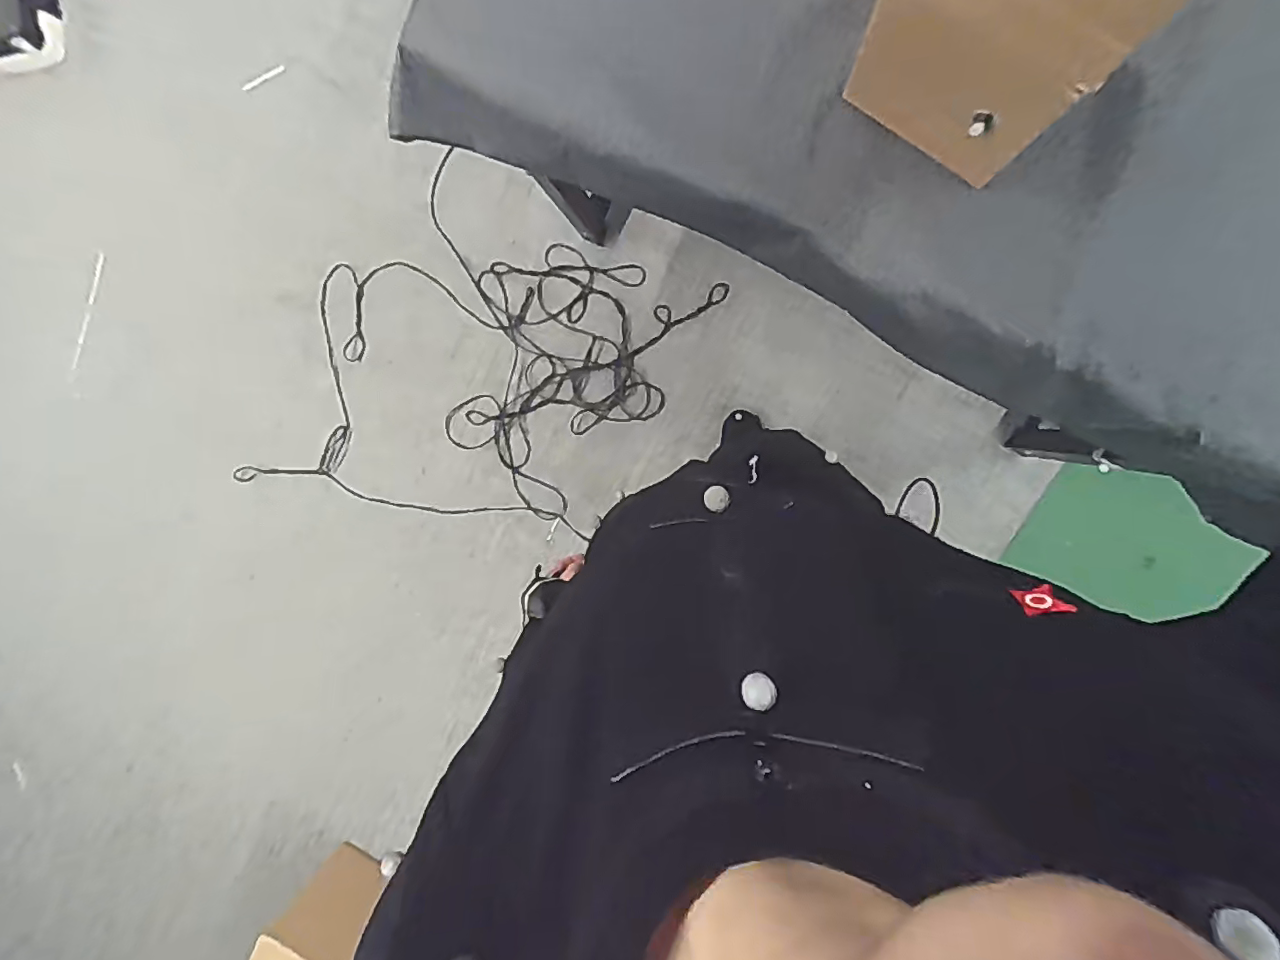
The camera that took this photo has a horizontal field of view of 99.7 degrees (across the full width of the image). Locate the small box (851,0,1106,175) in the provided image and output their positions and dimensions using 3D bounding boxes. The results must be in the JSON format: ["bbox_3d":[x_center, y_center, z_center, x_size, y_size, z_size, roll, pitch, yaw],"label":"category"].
[{"bbox_3d":[0.318,-0.404,0.470,0.179,0.176,0.168,36,99,4],"label":"small box"}]

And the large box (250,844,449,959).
[{"bbox_3d":[-0.834,1.362,1.542,0.408,0.320,0.320,27,100,6],"label":"large box"}]
